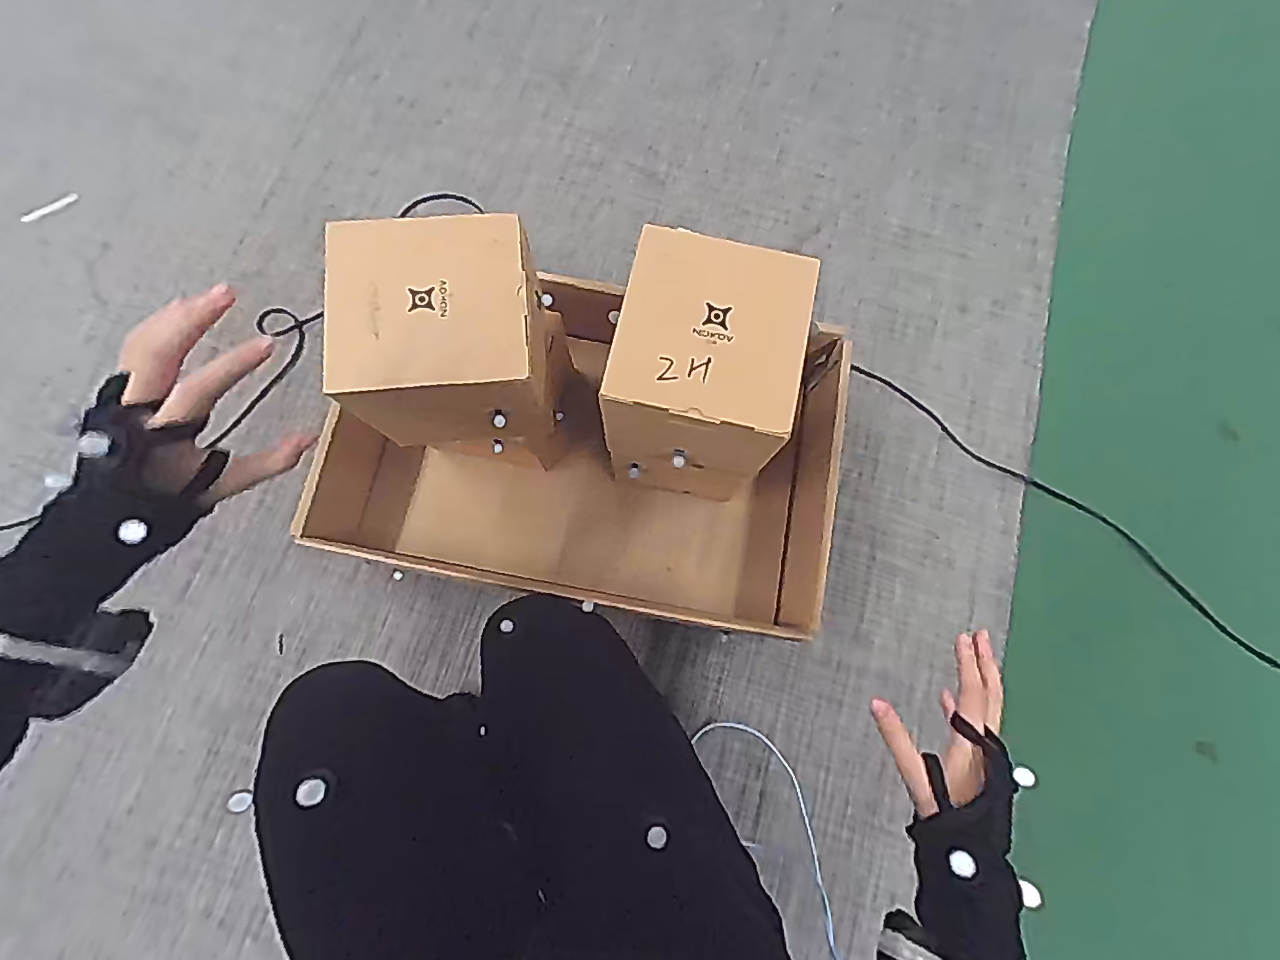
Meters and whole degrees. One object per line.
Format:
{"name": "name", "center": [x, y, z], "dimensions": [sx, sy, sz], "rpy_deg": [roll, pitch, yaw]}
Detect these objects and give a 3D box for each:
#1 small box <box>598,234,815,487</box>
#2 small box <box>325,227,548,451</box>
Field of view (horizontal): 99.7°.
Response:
{"name": "small box", "center": [0.060, -0.108, 0.551], "dimensions": [0.168, 0.176, 0.179], "rpy_deg": [13, 77, 3]}
{"name": "small box", "center": [-0.190, -0.132, 0.556], "dimensions": [0.179, 0.176, 0.168], "rpy_deg": [-4, 78, -3]}
